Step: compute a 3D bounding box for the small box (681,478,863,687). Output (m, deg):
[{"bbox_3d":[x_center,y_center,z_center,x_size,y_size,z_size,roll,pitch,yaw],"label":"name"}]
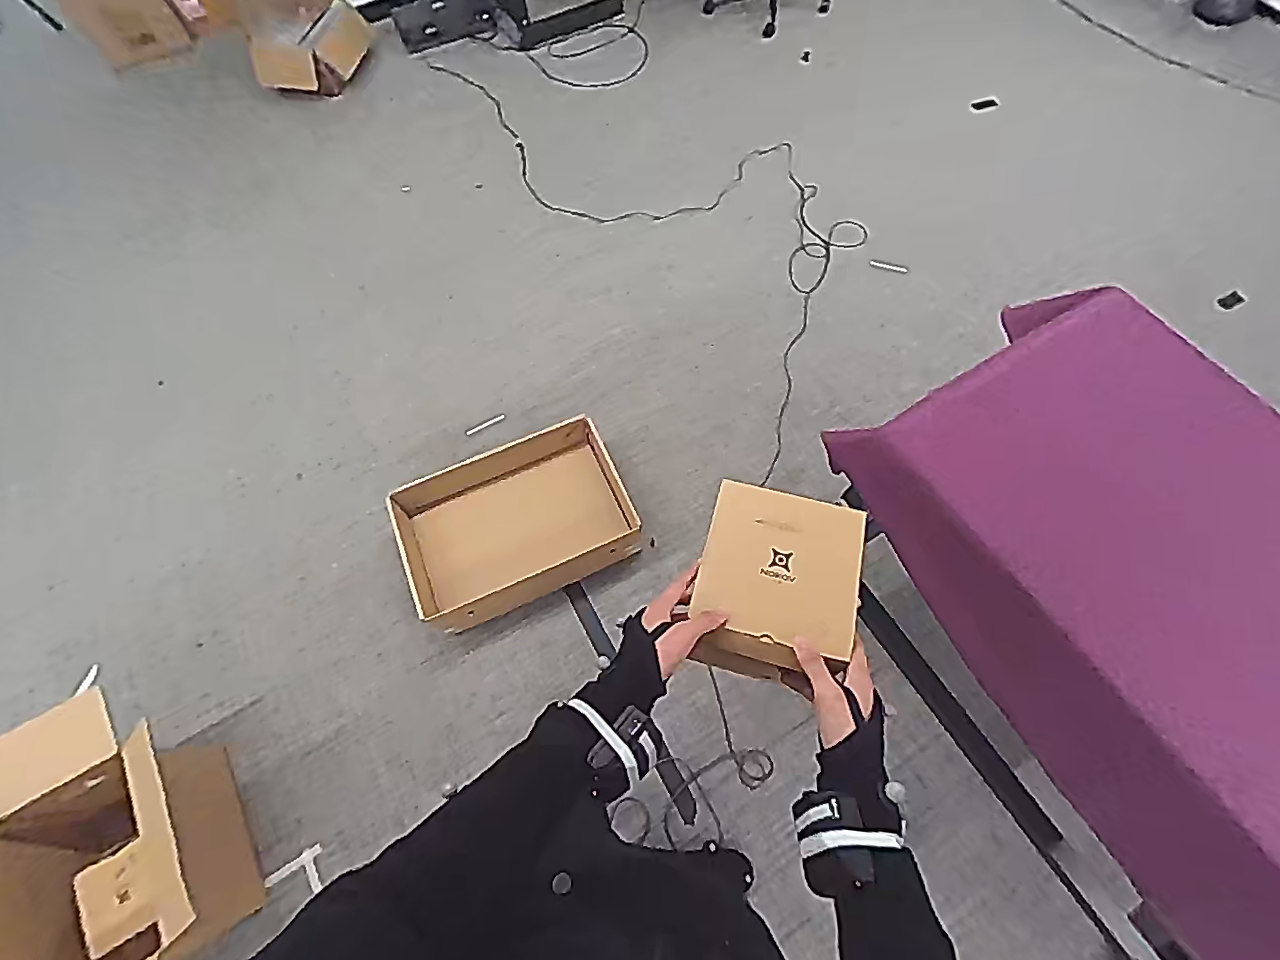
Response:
[{"bbox_3d":[0.149,0.128,0.644,0.168,0.176,0.179,14,60,10],"label":"small box"}]
